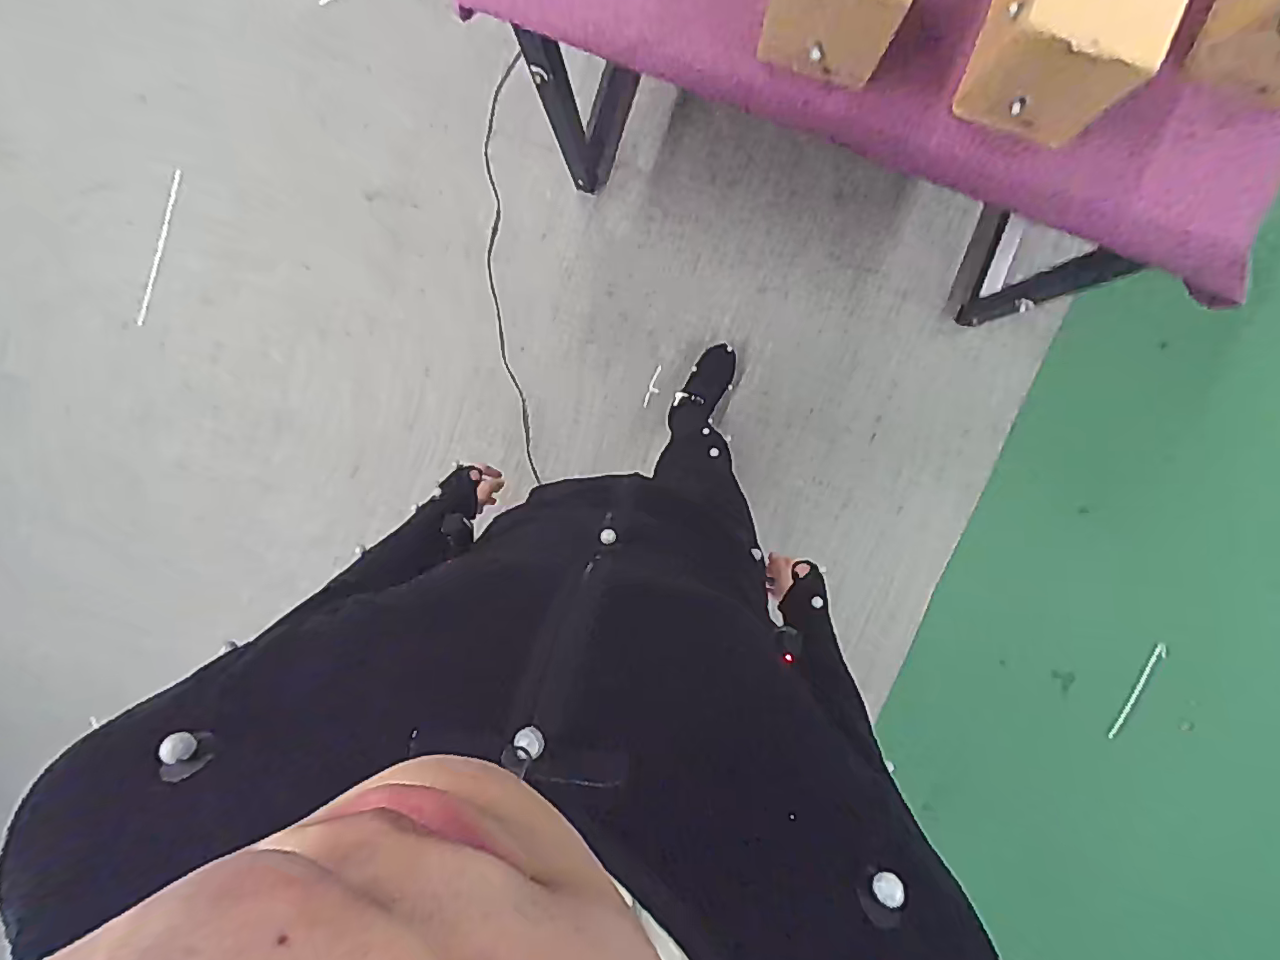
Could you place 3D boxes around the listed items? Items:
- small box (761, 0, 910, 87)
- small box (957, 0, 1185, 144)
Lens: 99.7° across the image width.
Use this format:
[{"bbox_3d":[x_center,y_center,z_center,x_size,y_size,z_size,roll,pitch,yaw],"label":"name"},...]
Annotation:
[{"bbox_3d":[0.272,-0.674,0.707,0.168,0.176,0.179,20,95,1],"label":"small box"},{"bbox_3d":[0.556,-0.589,0.705,0.168,0.176,0.179,20,96,0],"label":"small box"}]
